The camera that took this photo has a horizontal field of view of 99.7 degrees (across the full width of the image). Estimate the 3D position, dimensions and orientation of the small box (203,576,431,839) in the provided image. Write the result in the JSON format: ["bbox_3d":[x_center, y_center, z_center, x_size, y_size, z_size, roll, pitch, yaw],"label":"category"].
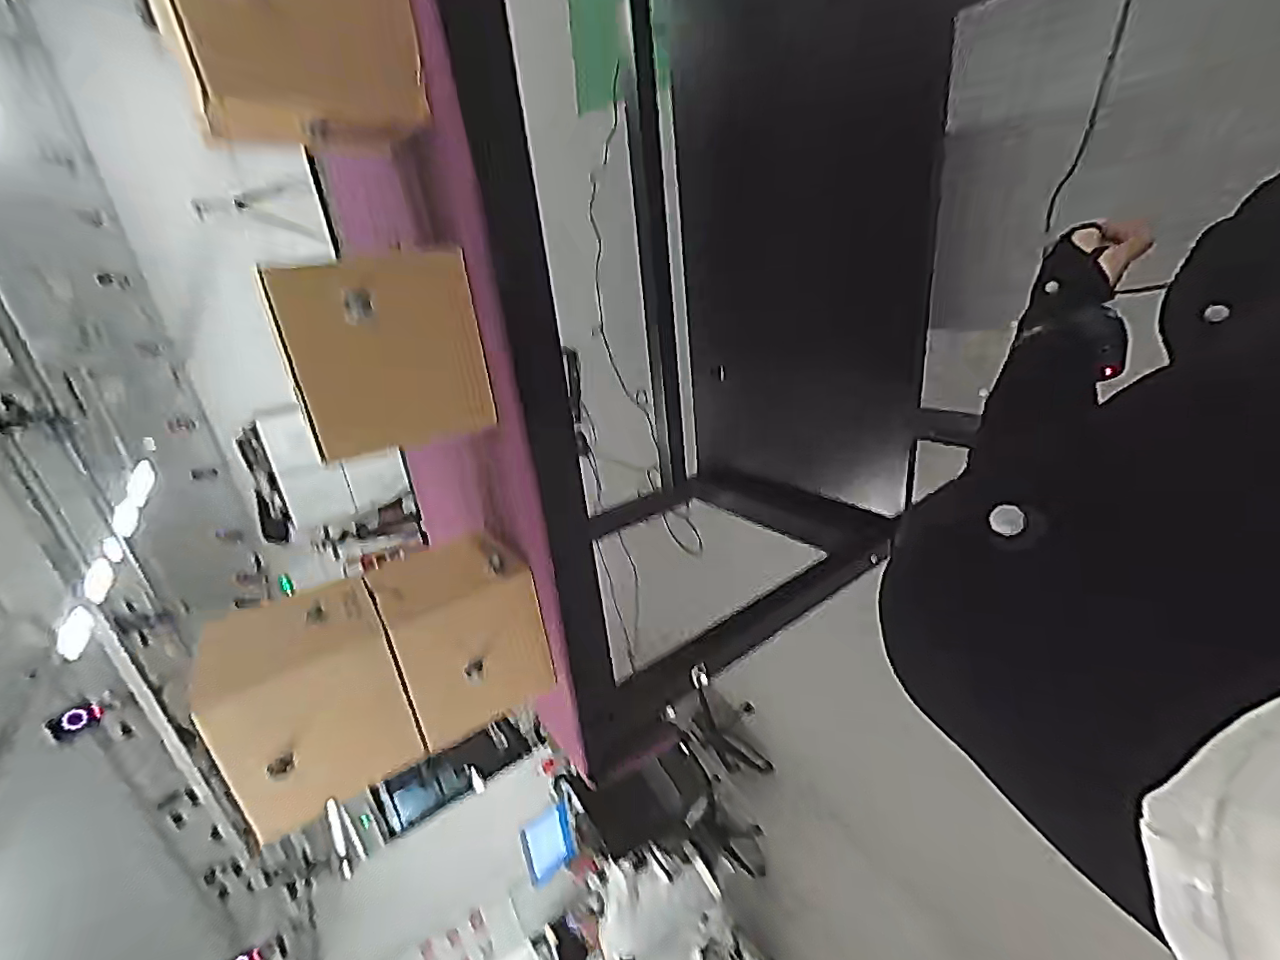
[{"bbox_3d":[-0.353,0.239,0.611,0.168,0.176,0.179,22,126,51],"label":"small box"}]

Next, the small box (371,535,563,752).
[{"bbox_3d":[-0.218,0.192,0.692,0.168,0.176,0.179,21,125,53],"label":"small box"}]

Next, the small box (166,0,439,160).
[{"bbox_3d":[-0.290,-0.388,0.462,0.168,0.176,0.179,24,127,48],"label":"small box"}]
